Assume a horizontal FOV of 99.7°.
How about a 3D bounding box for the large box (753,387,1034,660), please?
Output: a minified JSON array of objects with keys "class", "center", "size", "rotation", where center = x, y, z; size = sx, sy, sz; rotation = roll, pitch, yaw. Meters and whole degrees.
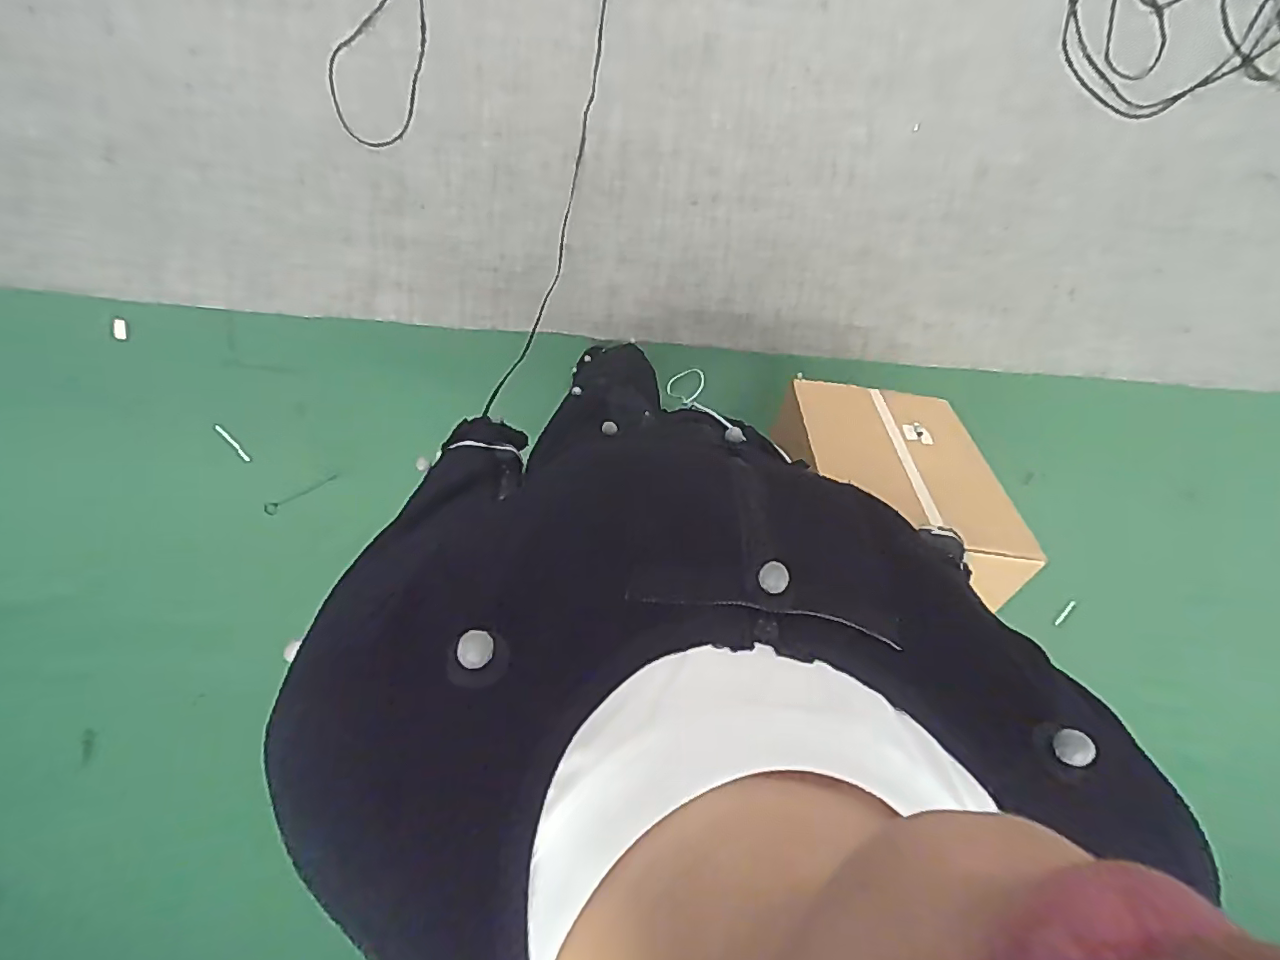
[{"class":"large box","center":[0.417,0.077,1.023],"size":[0.320,0.408,0.320],"rotation":[8,132,-3]}]
